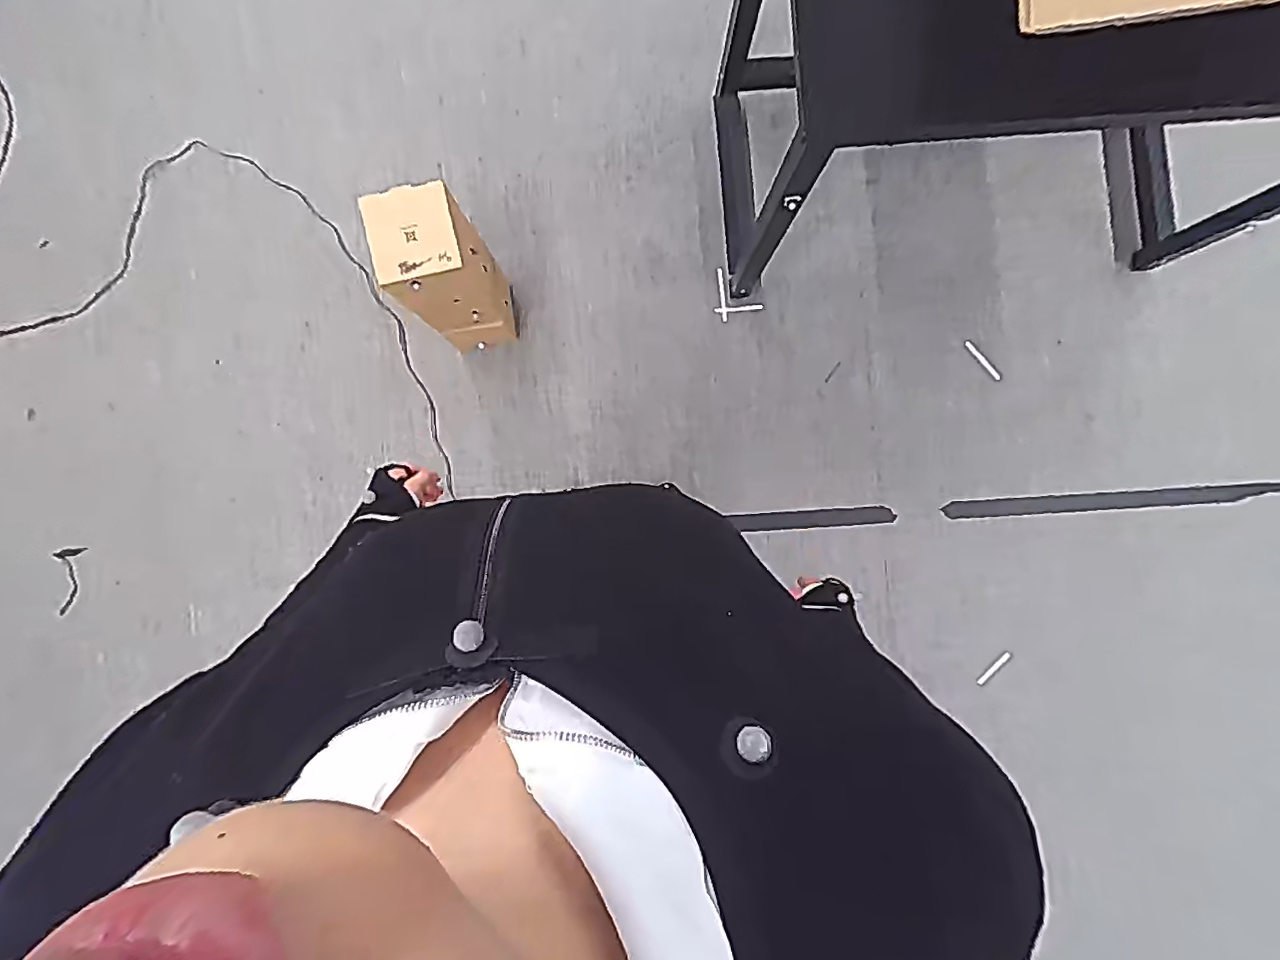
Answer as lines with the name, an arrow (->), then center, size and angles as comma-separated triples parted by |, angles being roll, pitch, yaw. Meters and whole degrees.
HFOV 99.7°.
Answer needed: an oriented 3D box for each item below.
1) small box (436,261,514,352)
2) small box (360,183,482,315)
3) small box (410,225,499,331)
small box -> -0.440, -0.454, 1.432 | 0.168, 0.176, 0.179 | -8, 90, 0
small box -> -0.439, -0.463, 1.106 | 0.168, 0.176, 0.179 | -13, 88, -1
small box -> -0.441, -0.463, 1.271 | 0.168, 0.176, 0.179 | -11, 88, -2
